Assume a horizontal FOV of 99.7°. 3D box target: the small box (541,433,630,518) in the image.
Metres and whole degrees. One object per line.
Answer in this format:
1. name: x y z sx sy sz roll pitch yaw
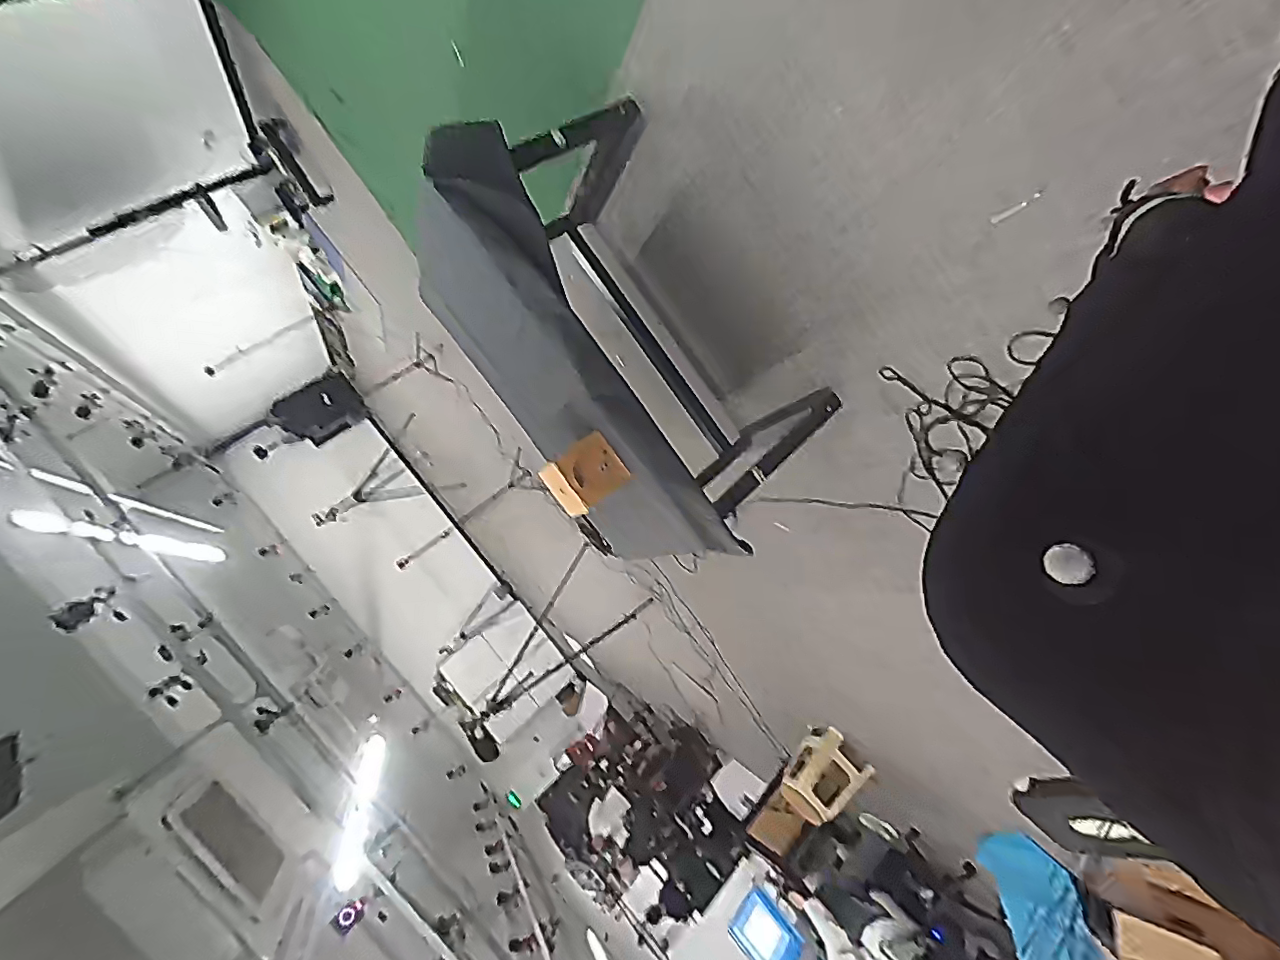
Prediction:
1. small box: -0.155 -0.011 1.549 0.168 0.176 0.179 54 155 -6
